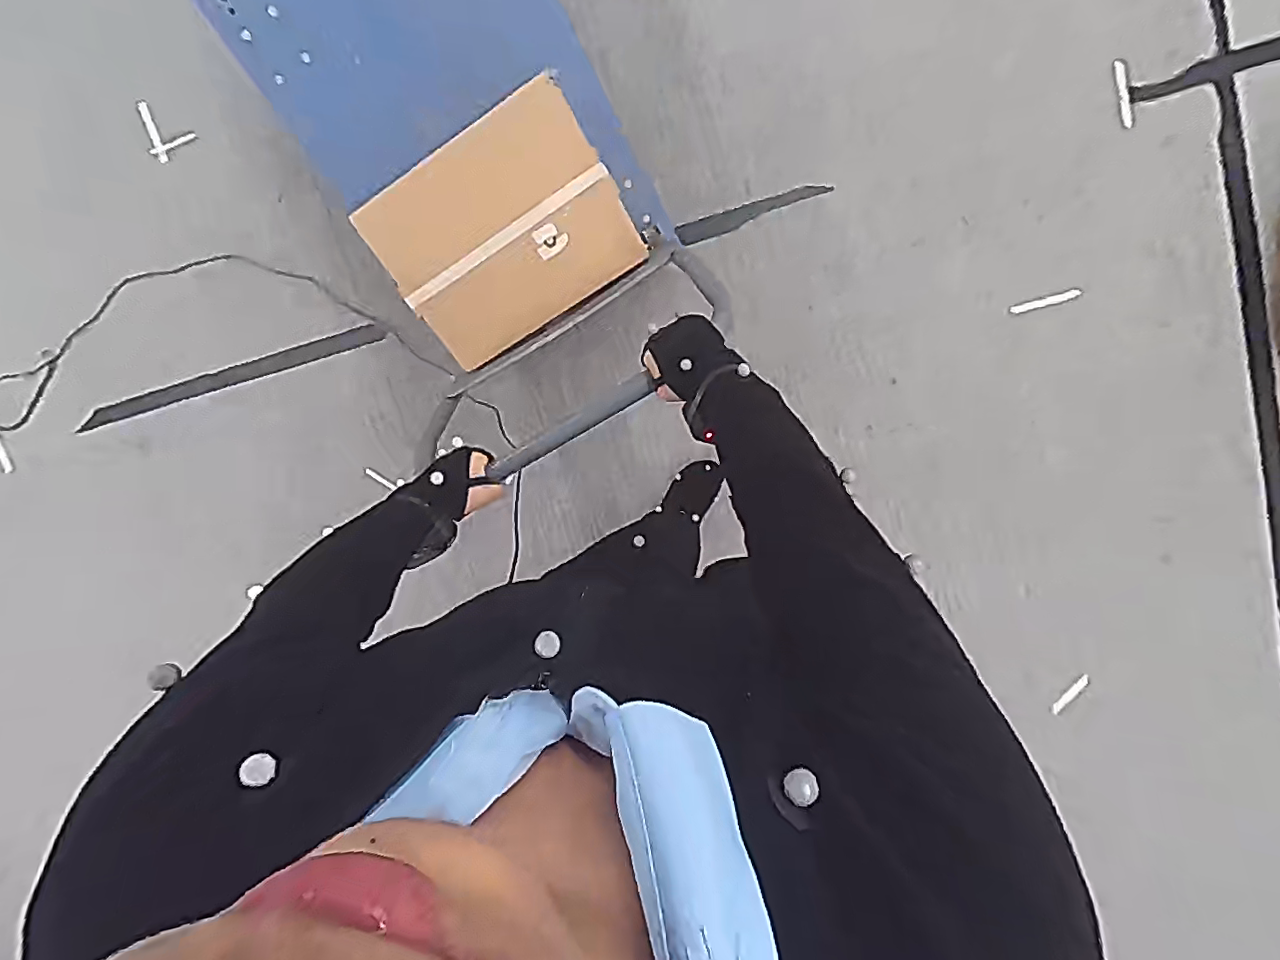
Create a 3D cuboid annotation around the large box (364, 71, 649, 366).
[{"bbox_3d":[-0.238,-0.490,1.072,0.408,0.320,0.320,-30,115,9],"label":"large box"}]
